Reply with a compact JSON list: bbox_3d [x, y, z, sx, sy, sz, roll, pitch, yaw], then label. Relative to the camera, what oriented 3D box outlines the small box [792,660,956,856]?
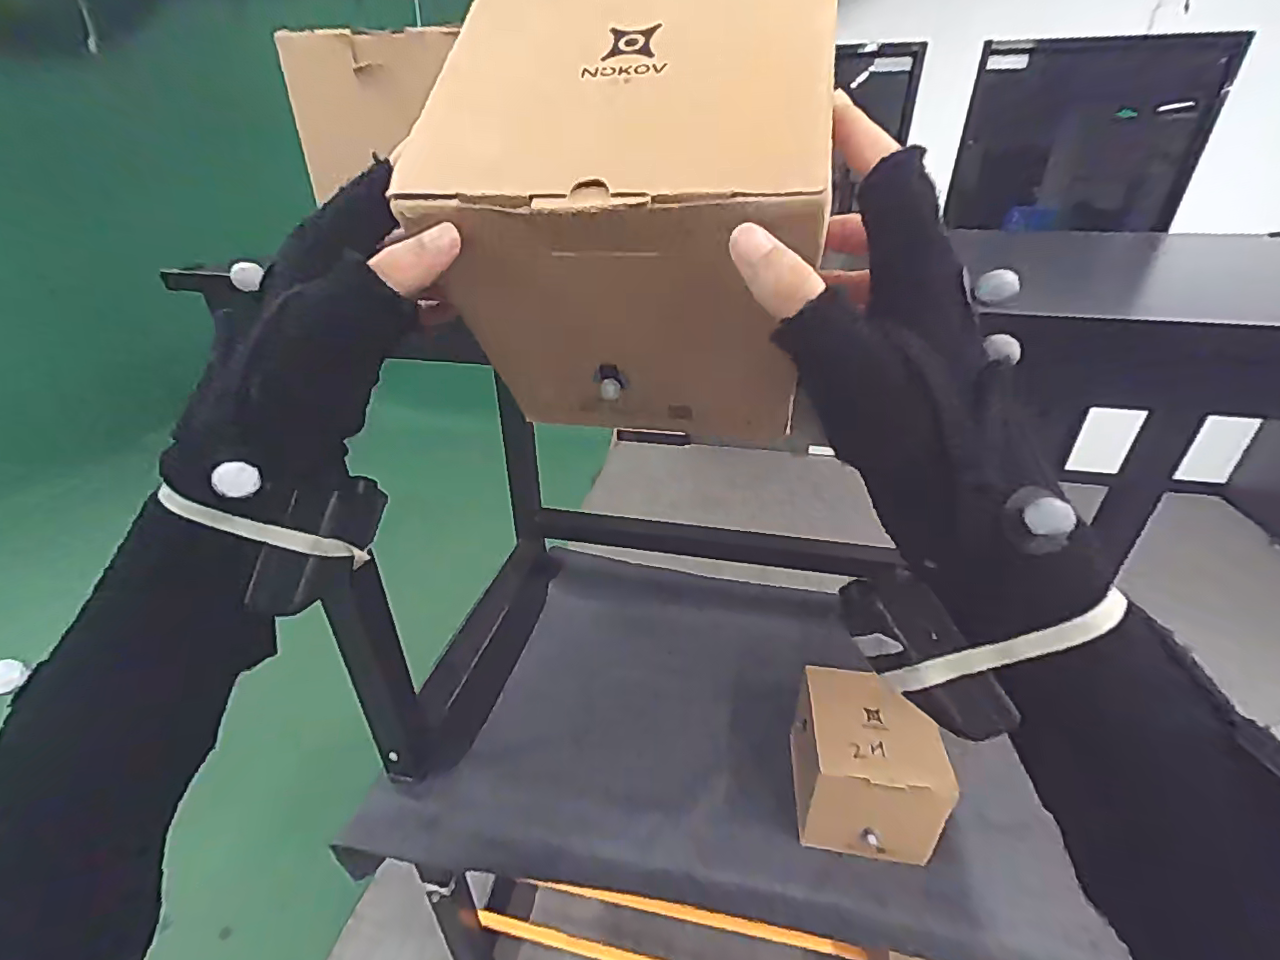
[{"bbox_3d":[0.318,0.394,0.780,0.168,0.176,0.179,4,29,8],"label":"small box"}]

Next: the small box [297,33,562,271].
[{"bbox_3d":[-0.175,-0.300,0.518,0.168,0.176,0.179,4,29,6],"label":"small box"}]
